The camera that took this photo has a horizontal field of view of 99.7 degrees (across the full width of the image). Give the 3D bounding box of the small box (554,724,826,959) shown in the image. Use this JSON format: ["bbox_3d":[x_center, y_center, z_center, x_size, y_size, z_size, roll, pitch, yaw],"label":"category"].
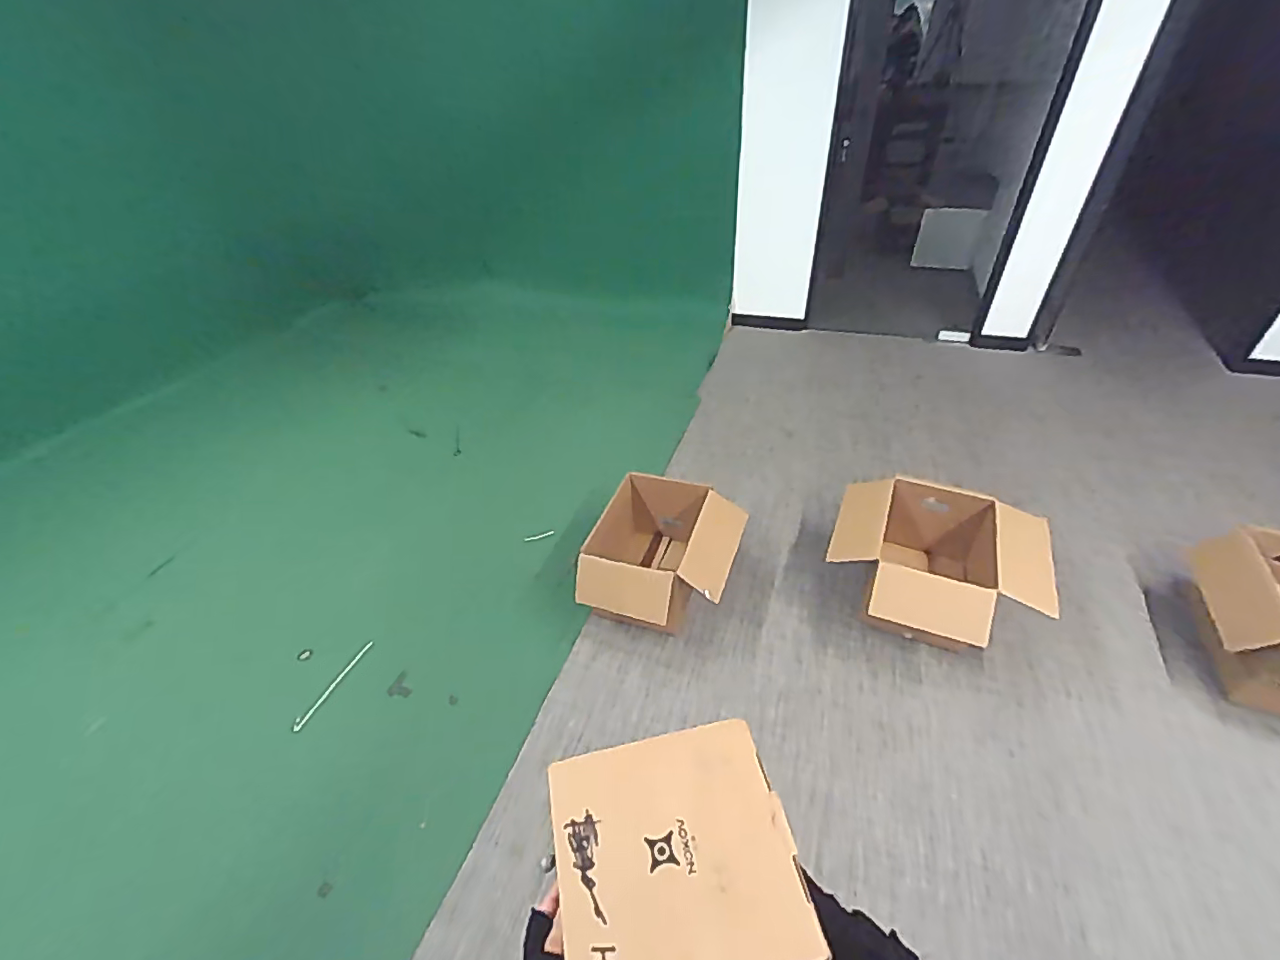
[{"bbox_3d":[0.027,0.338,0.461,0.179,0.176,0.168,-8,42,-8],"label":"small box"}]
